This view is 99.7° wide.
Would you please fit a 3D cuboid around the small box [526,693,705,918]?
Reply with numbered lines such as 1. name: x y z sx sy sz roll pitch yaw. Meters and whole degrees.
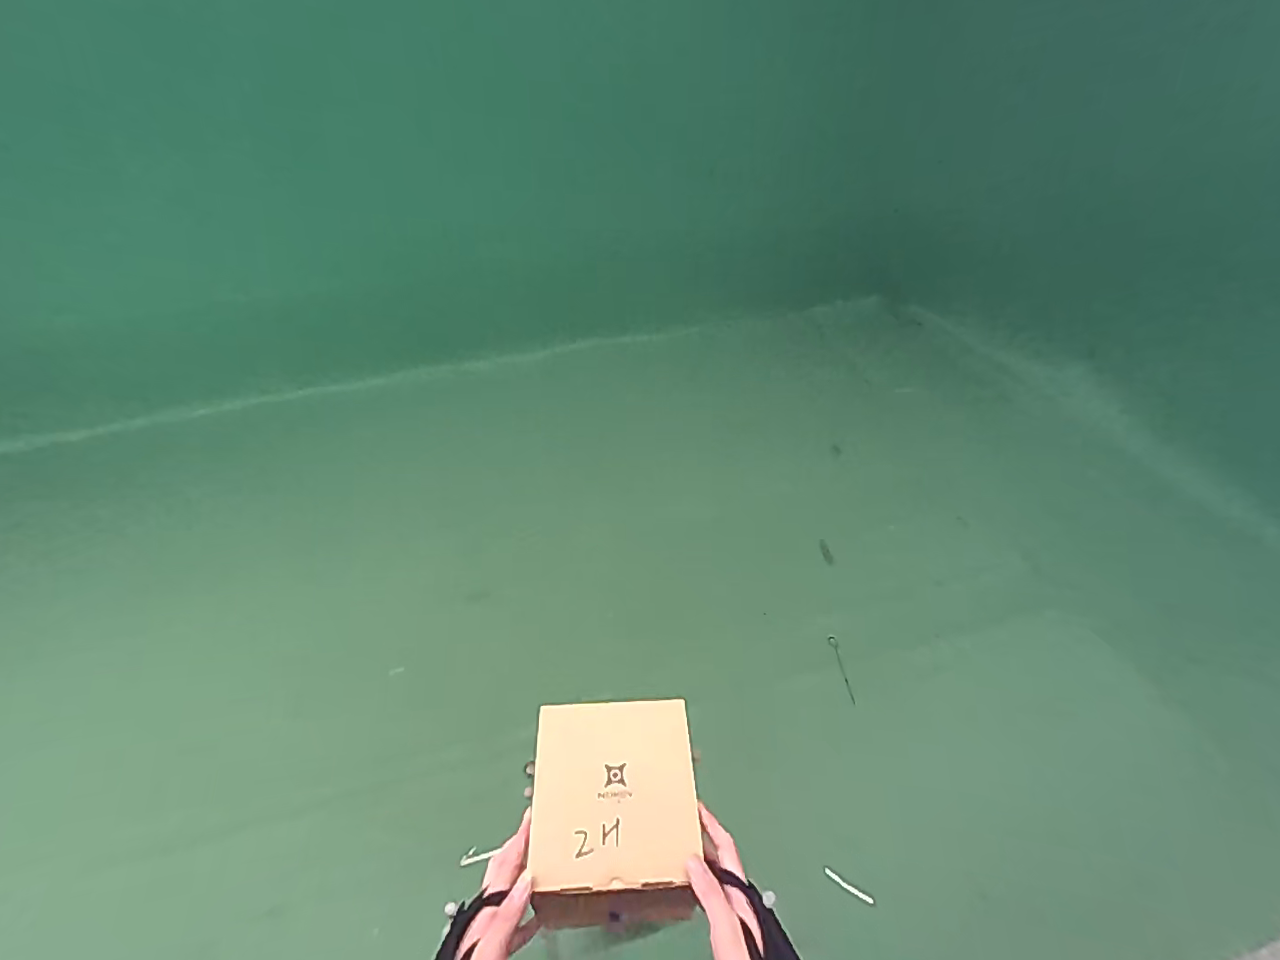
1. small box: -0.028 0.360 0.602 0.168 0.176 0.179 0 44 -3
